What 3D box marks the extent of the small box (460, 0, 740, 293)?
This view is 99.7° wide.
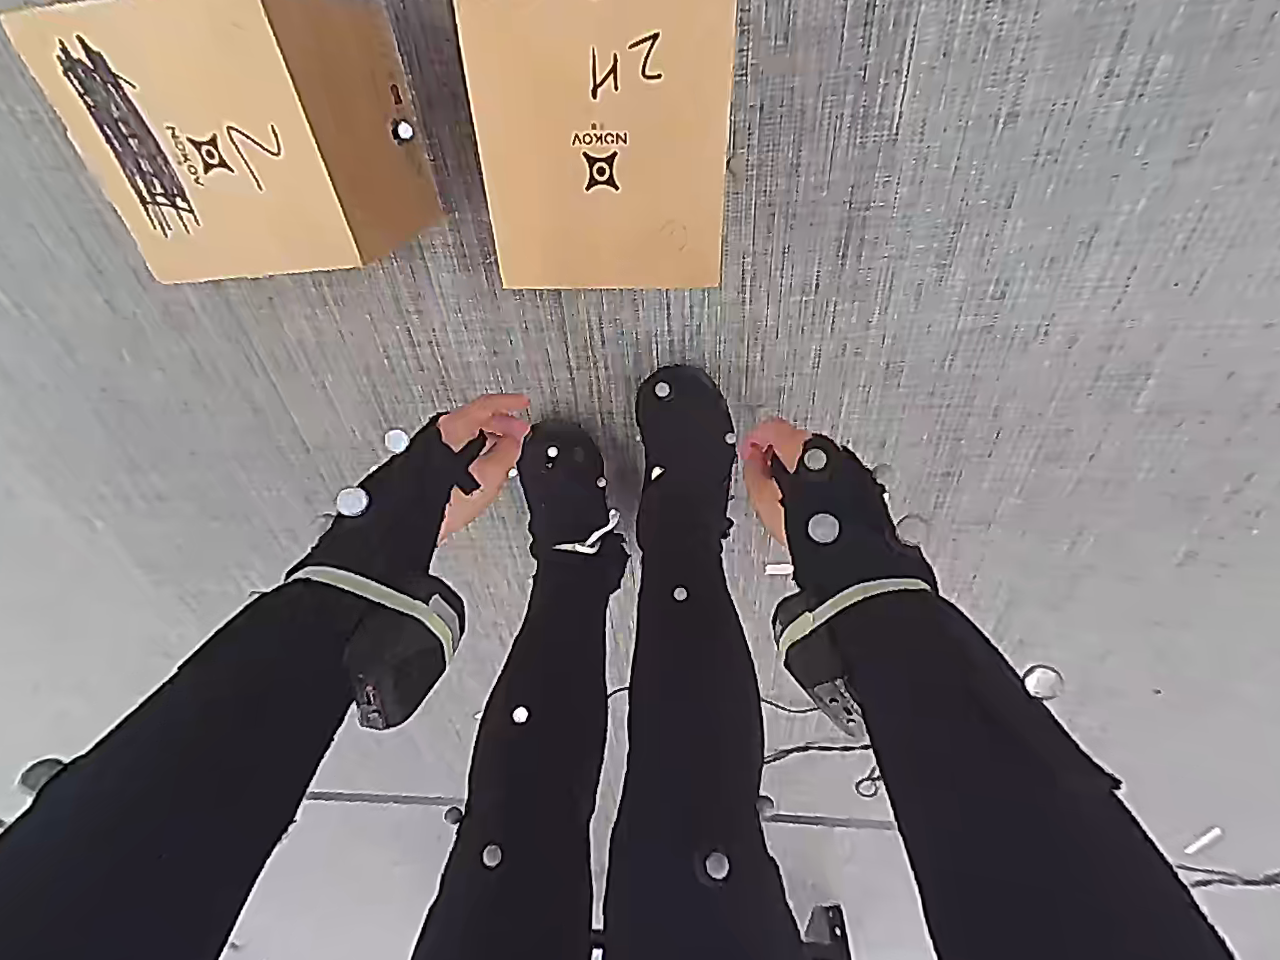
[{"bbox_3d":[-0.019,-0.261,0.423,0.168,0.176,0.179,1,127,3],"label":"small box"}]
